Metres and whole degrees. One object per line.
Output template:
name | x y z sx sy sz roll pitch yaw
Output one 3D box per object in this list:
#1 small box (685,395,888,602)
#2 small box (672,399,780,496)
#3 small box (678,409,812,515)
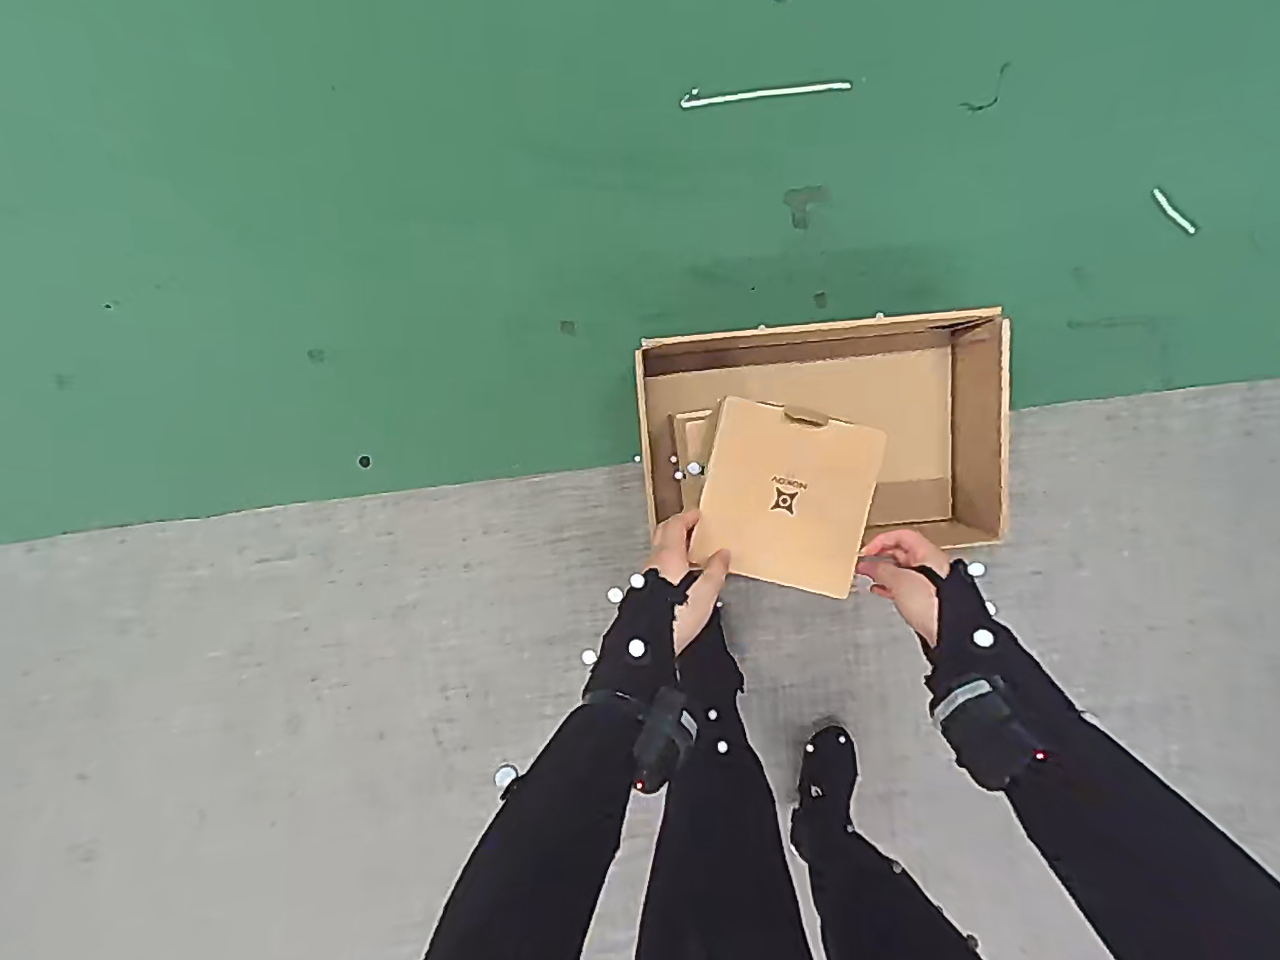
small box | 0.150 0.020 0.615 0.168 0.176 0.179 14 88 2
small box | 0.152 -0.044 0.953 0.168 0.176 0.179 -8 98 0
small box | 0.150 -0.011 0.792 0.168 0.176 0.179 -6 97 -1
